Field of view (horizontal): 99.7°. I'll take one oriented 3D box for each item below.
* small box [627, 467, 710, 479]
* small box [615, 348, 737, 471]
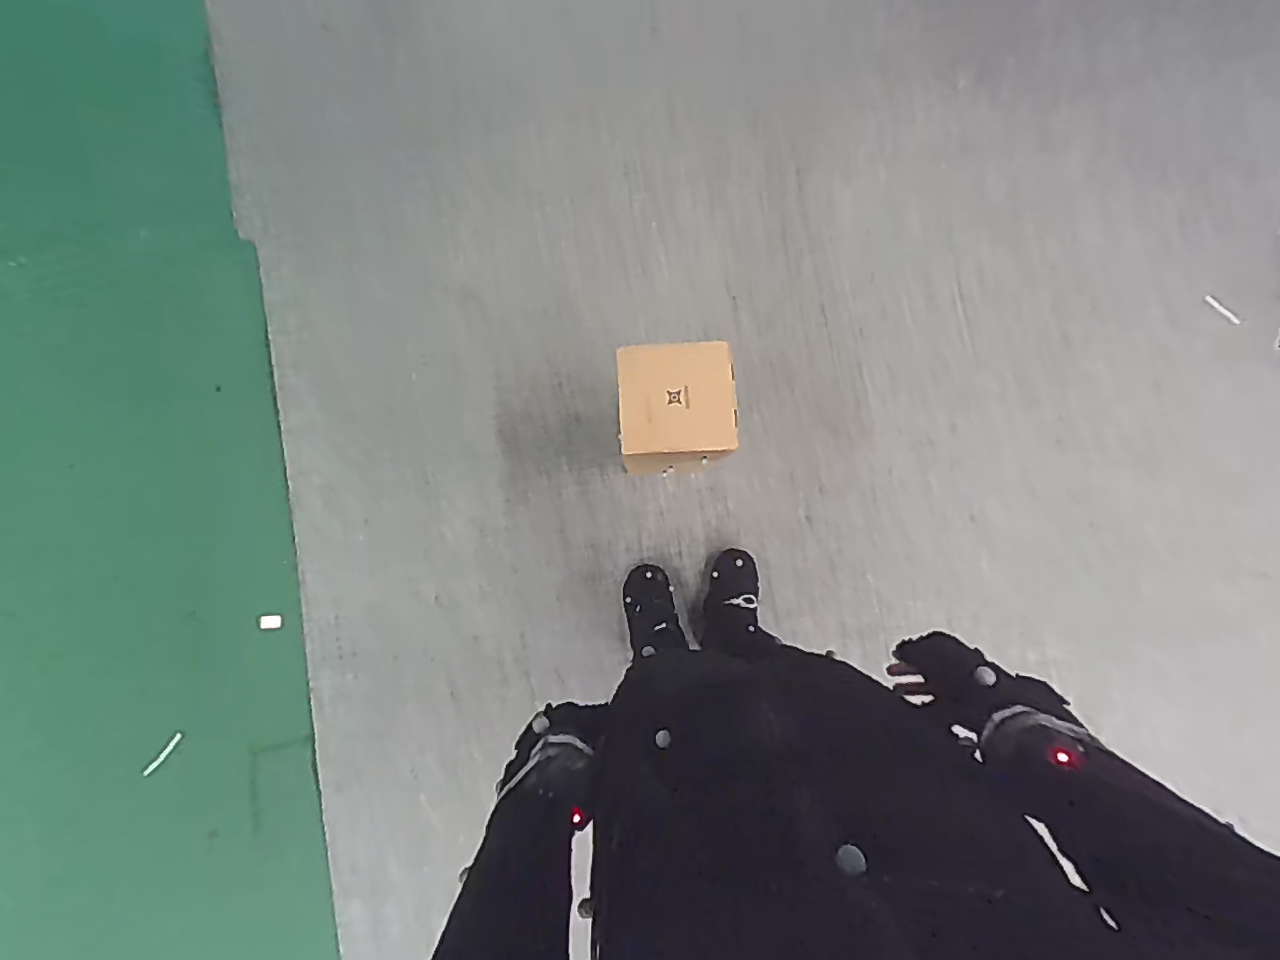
[{"bbox_3d":[0.055,-0.092,1.211,0.179,0.176,0.168,-4,86,1],"label":"small box"},{"bbox_3d":[0.054,-0.107,0.886,0.179,0.176,0.168,-4,85,1],"label":"small box"}]
